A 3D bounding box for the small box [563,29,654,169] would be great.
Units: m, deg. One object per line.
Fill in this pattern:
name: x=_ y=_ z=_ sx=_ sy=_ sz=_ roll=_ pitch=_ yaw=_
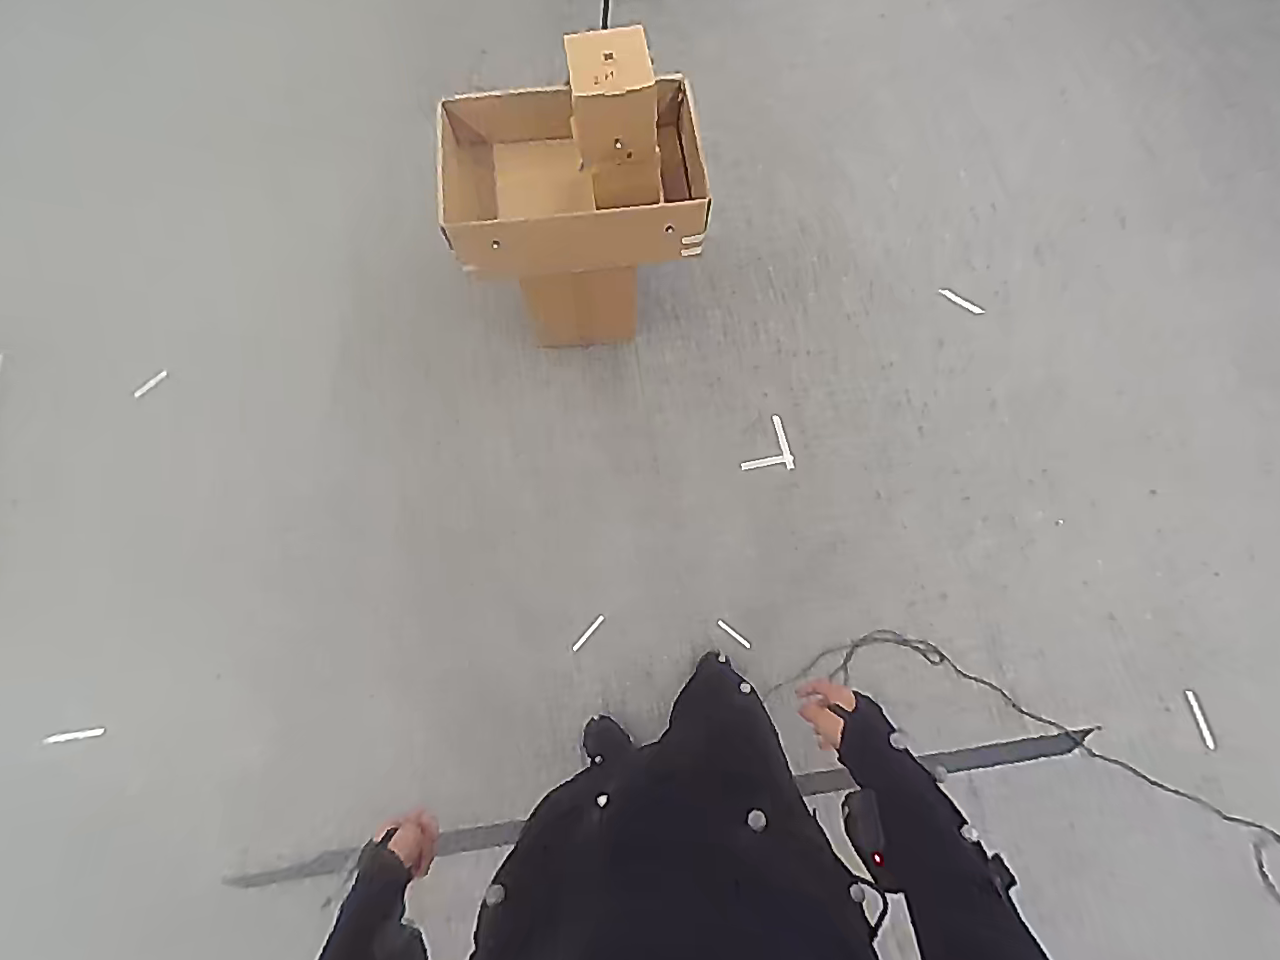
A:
small box: x=-0.064 y=-0.805 z=1.152 sx=0.168 sy=0.176 sz=0.179 roll=-9 pitch=74 yaw=-1
